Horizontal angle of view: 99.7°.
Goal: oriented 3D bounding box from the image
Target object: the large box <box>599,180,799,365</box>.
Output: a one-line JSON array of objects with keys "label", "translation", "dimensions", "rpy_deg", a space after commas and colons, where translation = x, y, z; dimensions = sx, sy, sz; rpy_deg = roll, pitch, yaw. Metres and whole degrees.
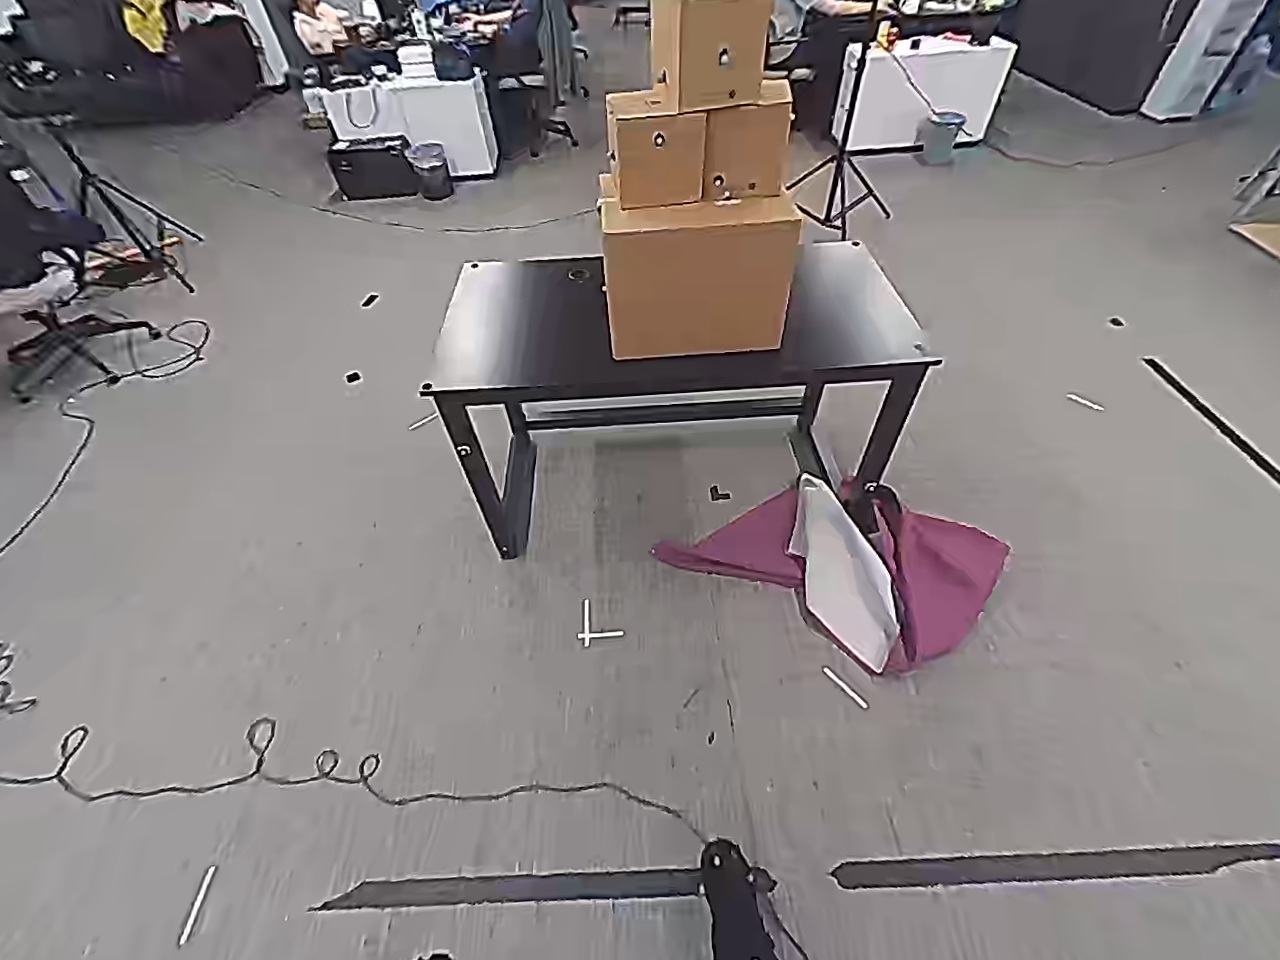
[{"label": "large box", "translation": [0.117, -0.500, 1.293], "dimensions": [0.408, 0.320, 0.320], "rpy_deg": [-4, 49, -2]}]

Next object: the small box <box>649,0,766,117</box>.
[{"label": "small box", "translation": [0.121, -0.806, 1.021], "dimensions": [0.168, 0.176, 0.179], "rpy_deg": [-14, 49, -9]}]

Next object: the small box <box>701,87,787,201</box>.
[{"label": "small box", "translation": [0.217, -0.710, 1.148], "dimensions": [0.168, 0.176, 0.179], "rpy_deg": [4, 47, 7]}]
